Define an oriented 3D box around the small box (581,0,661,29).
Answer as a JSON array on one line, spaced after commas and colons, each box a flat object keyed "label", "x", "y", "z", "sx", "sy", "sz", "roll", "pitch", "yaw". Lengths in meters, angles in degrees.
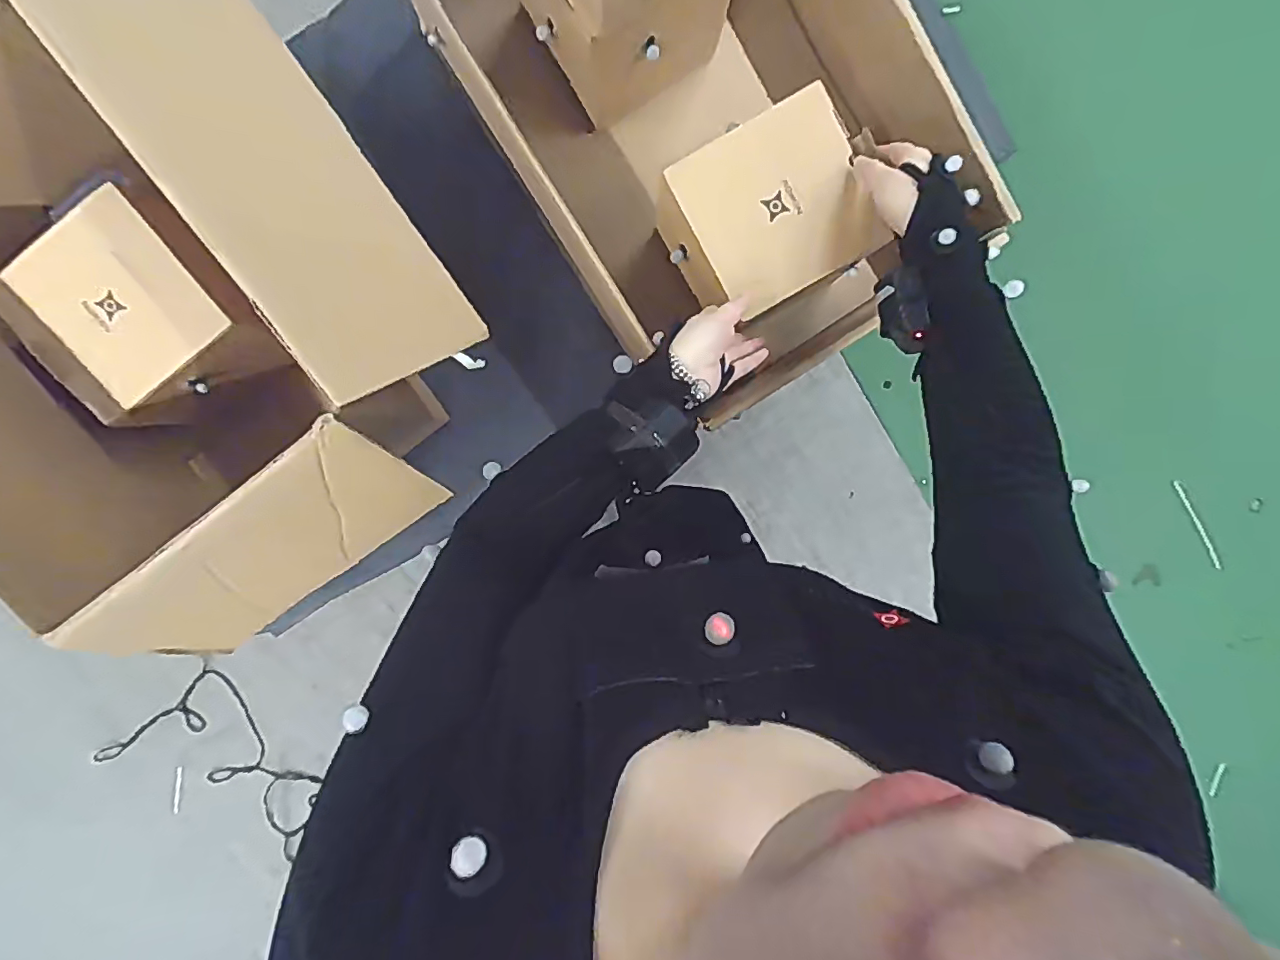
[{"label": "small box", "x": -0.008, "y": -0.509, "z": 0.403, "sx": 0.168, "sy": 0.176, "sz": 0.179, "roll": -33, "pitch": 99, "yaw": 1}]
